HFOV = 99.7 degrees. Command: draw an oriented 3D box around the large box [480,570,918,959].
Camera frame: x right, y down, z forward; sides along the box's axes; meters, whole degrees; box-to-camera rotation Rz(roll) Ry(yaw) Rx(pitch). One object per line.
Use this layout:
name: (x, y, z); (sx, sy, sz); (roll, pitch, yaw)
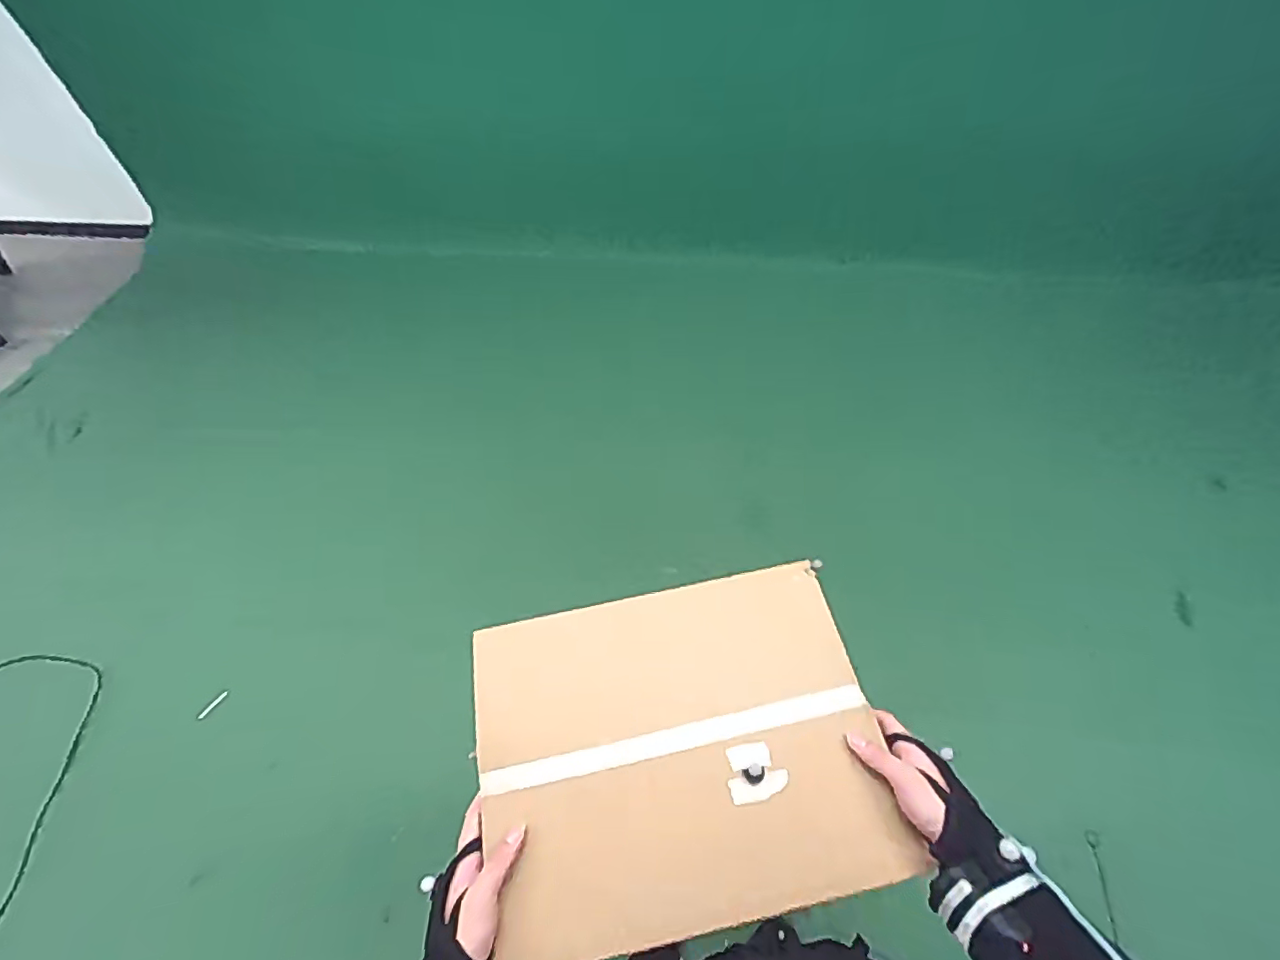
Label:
large box: (0.042, 0.354, 0.692); (0.408, 0.320, 0.320); (-11, 59, -5)
